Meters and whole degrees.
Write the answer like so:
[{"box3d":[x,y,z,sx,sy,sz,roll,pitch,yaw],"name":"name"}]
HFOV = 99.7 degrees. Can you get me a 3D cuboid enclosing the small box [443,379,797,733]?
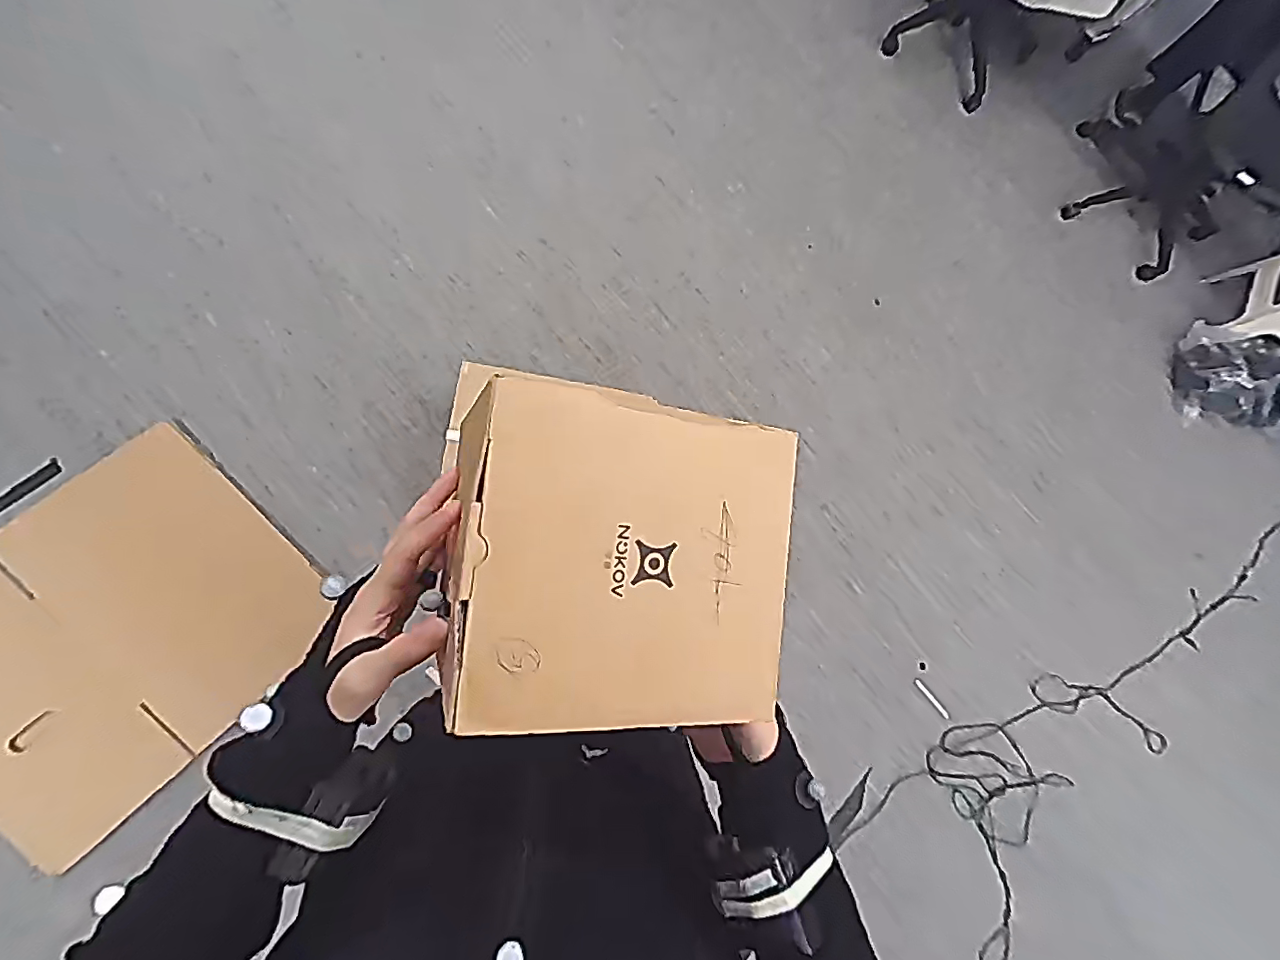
[{"box3d":[-0.026,0.045,0.351,0.179,0.176,0.168,7,86,-23],"name":"small box"}]
